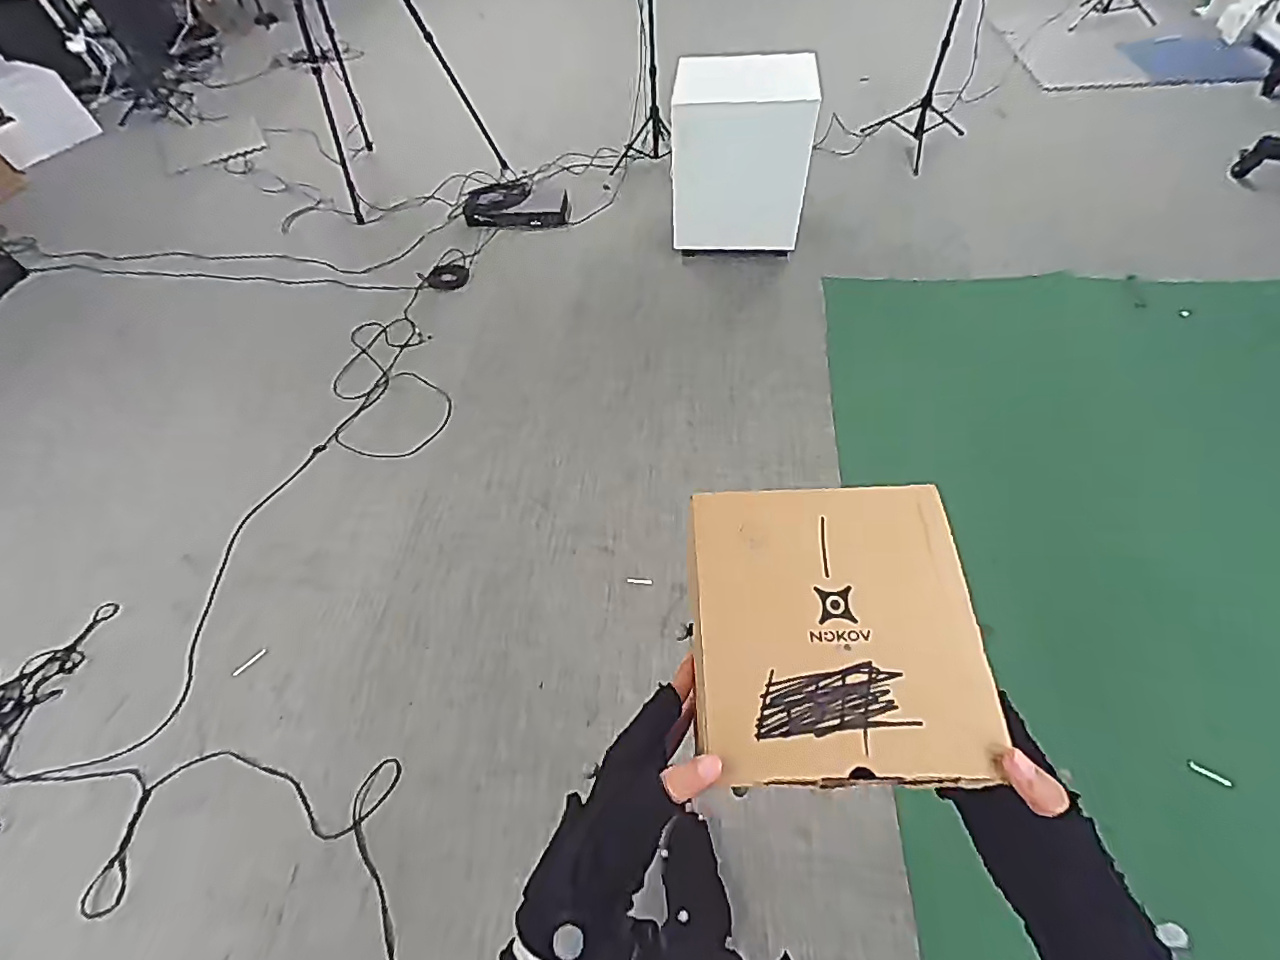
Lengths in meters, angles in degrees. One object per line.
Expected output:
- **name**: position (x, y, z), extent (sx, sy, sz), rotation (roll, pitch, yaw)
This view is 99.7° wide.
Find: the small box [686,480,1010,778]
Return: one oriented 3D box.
- **small box**: position (0.120, 0.115, 0.397), extent (0.168, 0.176, 0.179), rotation (-1, 63, 2)
